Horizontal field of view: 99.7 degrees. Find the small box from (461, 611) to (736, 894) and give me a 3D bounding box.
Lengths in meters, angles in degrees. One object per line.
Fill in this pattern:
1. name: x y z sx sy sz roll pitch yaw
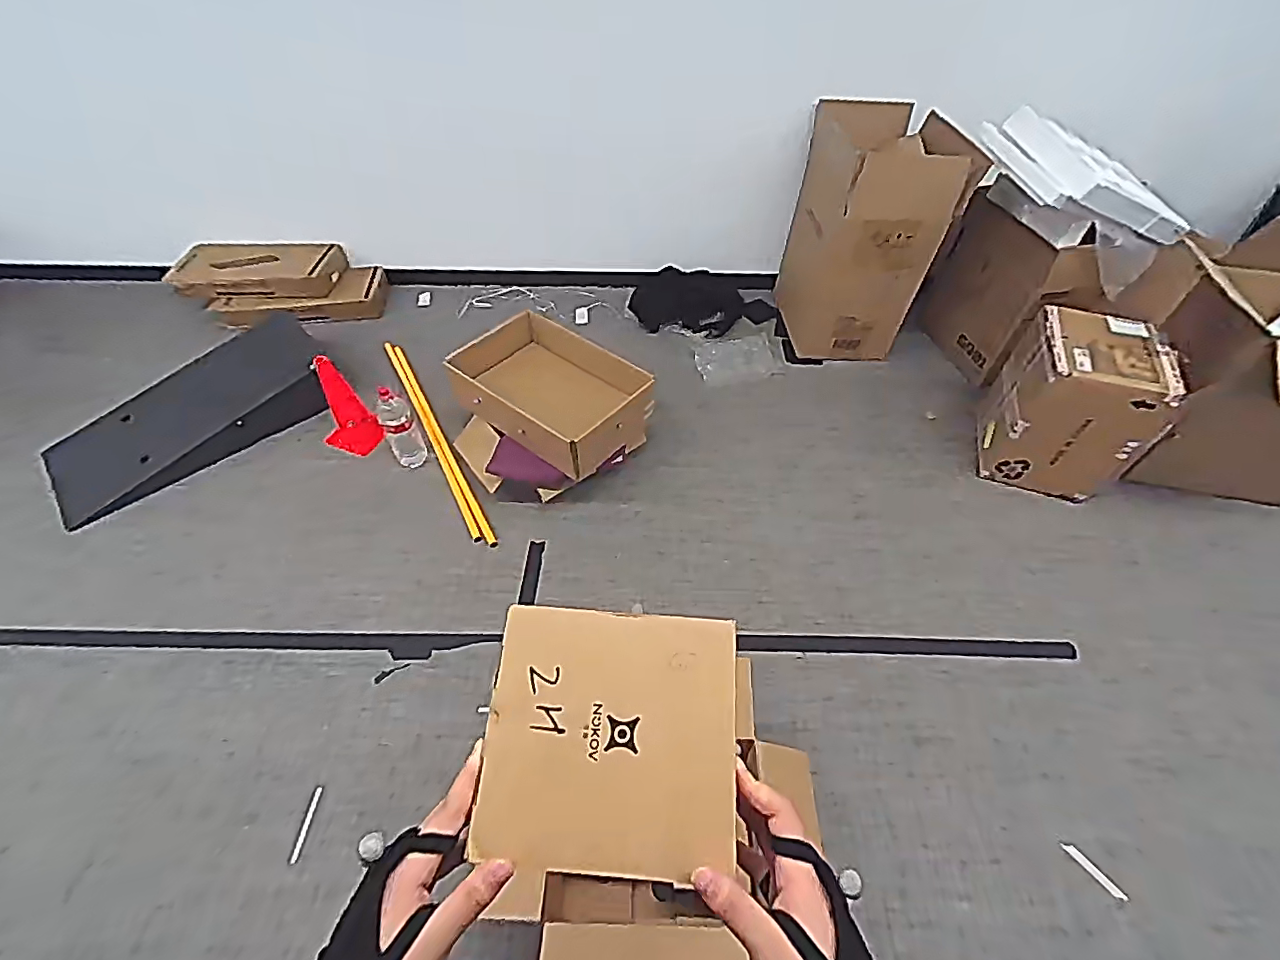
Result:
1. small box: -0.021 0.214 0.447 0.179 0.176 0.168 4 64 3
